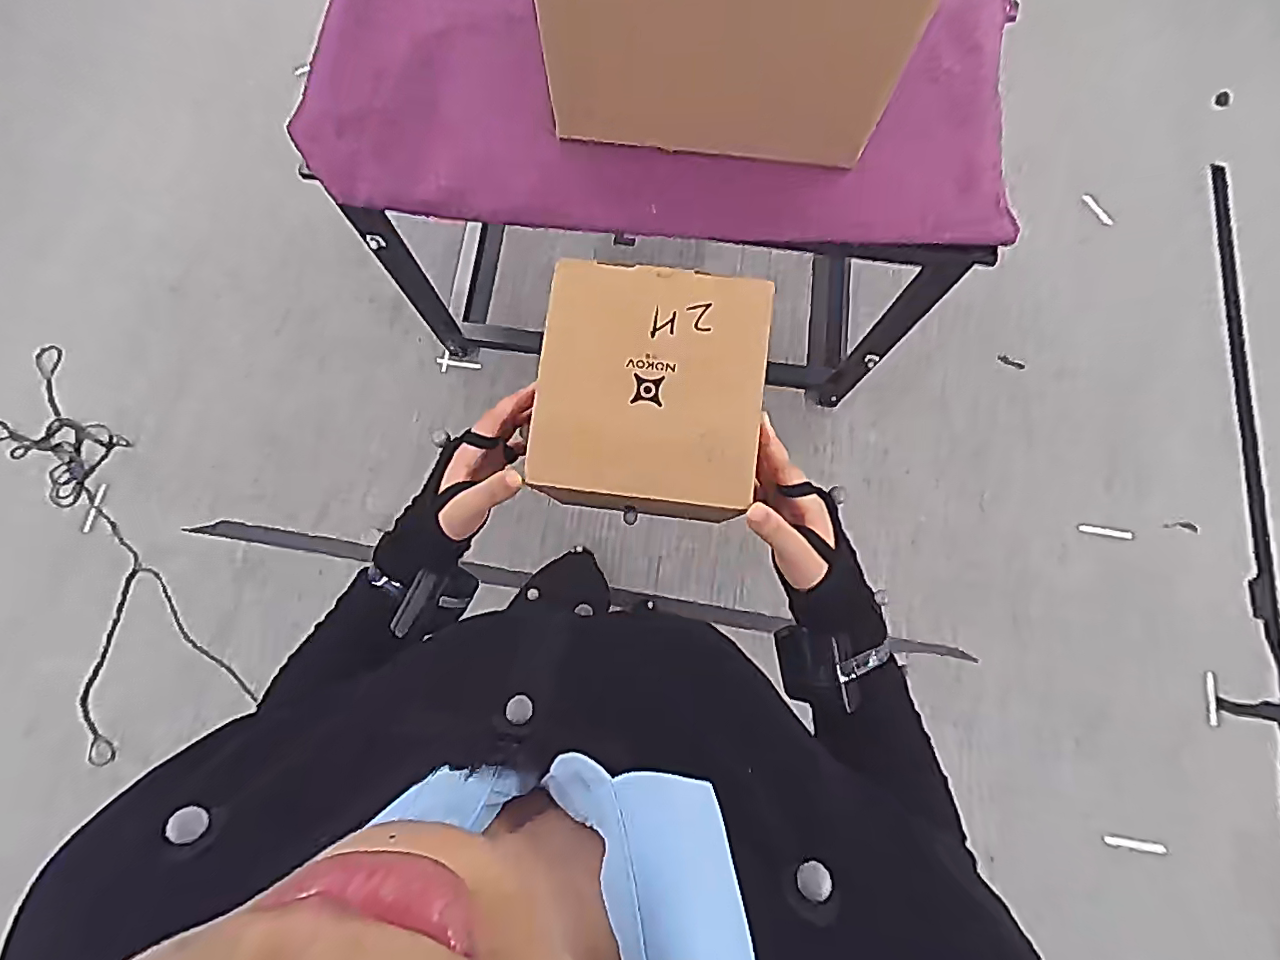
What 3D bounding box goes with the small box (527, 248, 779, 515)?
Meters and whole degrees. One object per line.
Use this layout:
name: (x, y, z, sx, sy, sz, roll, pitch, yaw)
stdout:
small box: (0.013, -0.068, 0.467, 0.168, 0.176, 0.179, 7, 82, 2)
